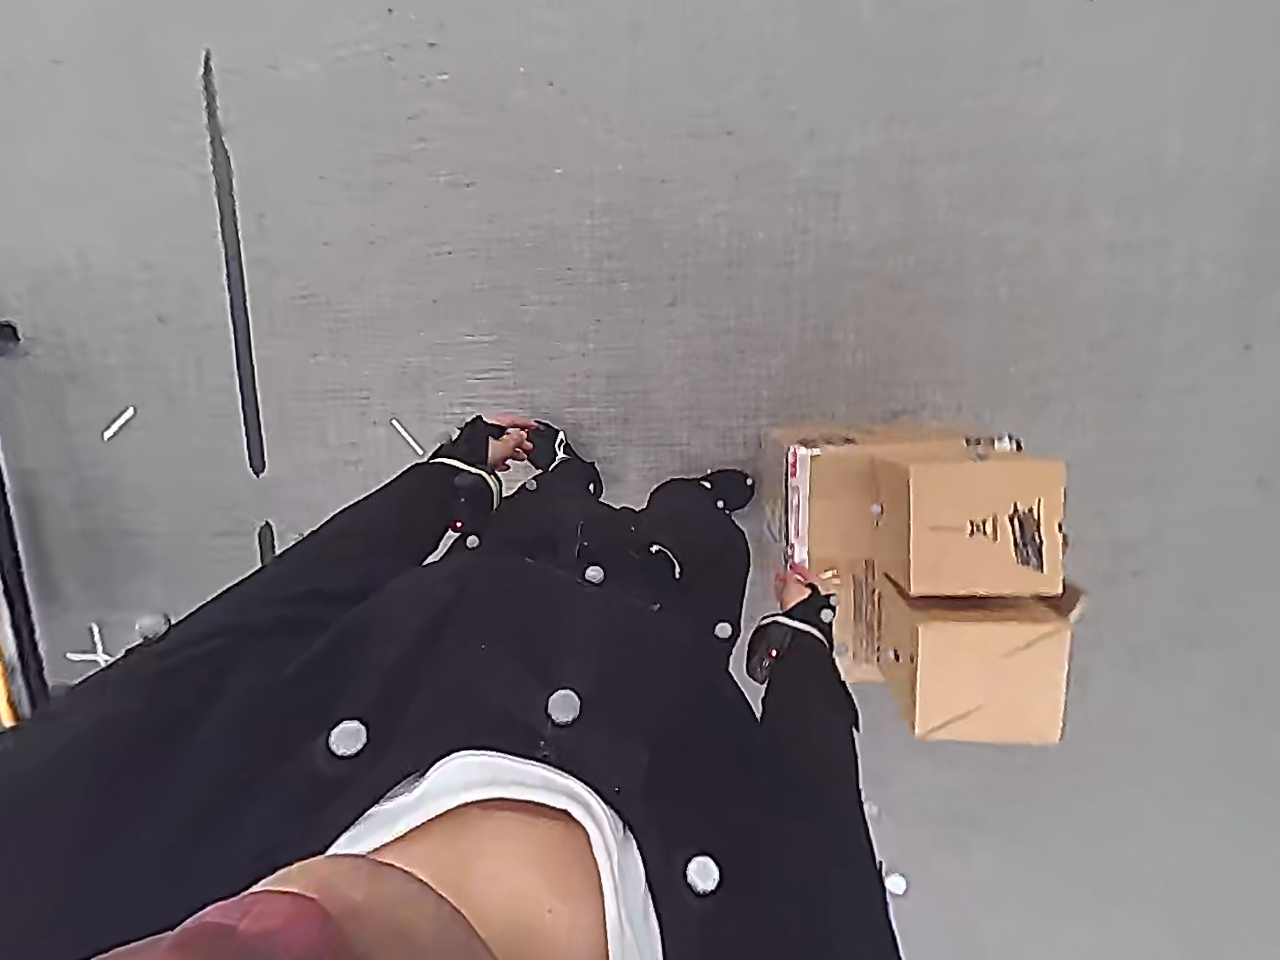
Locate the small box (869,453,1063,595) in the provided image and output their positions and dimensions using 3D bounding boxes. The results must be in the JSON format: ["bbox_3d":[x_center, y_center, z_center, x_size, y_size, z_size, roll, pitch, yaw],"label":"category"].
[{"bbox_3d":[0.429,0.052,0.738,0.179,0.176,0.168,-2,96,9],"label":"small box"}]

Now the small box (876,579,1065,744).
[{"bbox_3d":[0.449,0.246,0.763,0.179,0.176,0.168,-1,101,9],"label":"small box"}]
